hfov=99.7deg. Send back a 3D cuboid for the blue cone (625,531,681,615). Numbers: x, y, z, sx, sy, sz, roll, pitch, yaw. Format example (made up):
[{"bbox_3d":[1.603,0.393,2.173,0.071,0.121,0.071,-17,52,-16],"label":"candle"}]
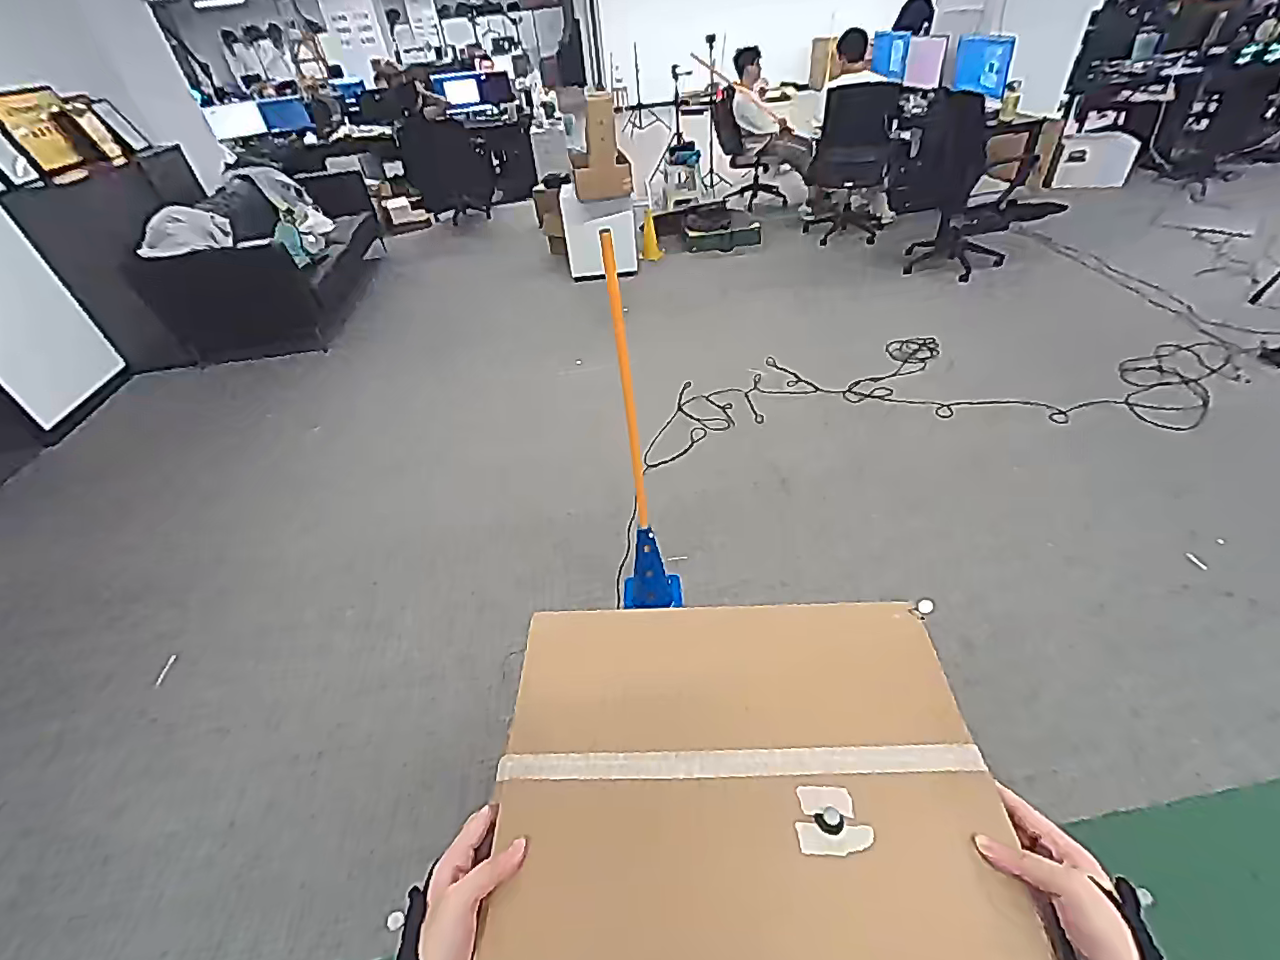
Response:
[{"bbox_3d":[0.032,0.301,1.754,0.193,0.380,0.192,-3,41,4],"label":"blue cone"}]

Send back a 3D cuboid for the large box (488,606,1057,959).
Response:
[{"bbox_3d":[0.093,0.355,0.573,0.408,0.320,0.320,-2,44,2],"label":"large box"}]
